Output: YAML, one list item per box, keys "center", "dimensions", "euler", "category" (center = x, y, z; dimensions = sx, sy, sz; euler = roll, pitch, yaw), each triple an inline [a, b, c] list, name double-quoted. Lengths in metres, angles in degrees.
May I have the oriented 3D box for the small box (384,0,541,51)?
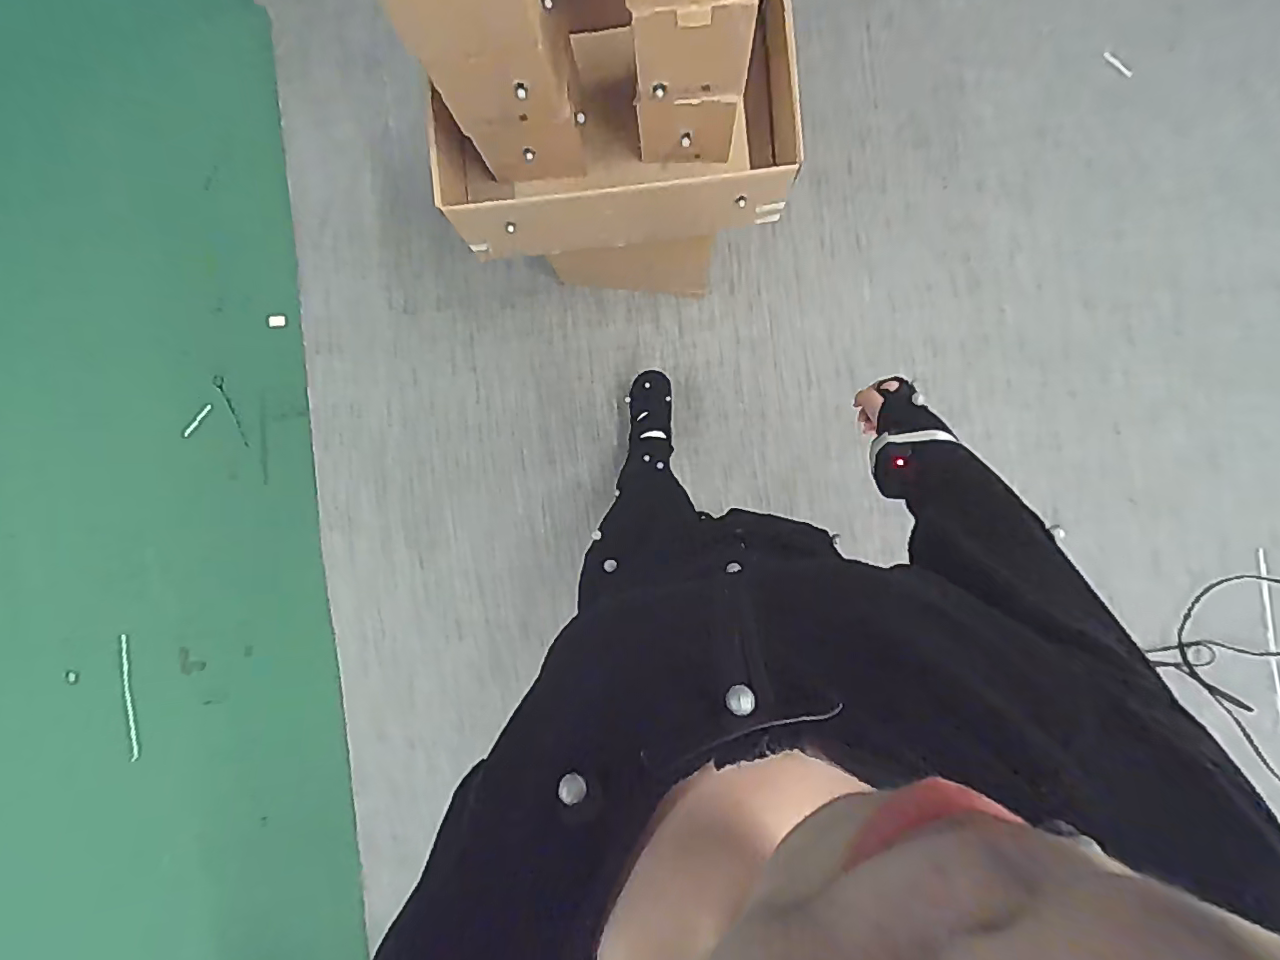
- center: [-0.222, -0.642, 0.626]
  dimensions: [0.179, 0.176, 0.168]
  euler: [-1, 91, 4]
  category: "small box"

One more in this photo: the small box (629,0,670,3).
- center: [0.056, -0.688, 0.606]
  dimensions: [0.179, 0.176, 0.168]
  euler: [-3, 90, 4]
  category: "small box"

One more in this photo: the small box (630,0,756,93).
- center: [0.074, -0.687, 0.768]
  dimensions: [0.168, 0.176, 0.179]
  euler: [-2, 90, 5]
  category: "small box"

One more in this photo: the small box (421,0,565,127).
- center: [-0.209, -0.650, 0.791]
  dimensions: [0.168, 0.176, 0.179]
  euler: [-4, 90, 4]
  category: "small box"
